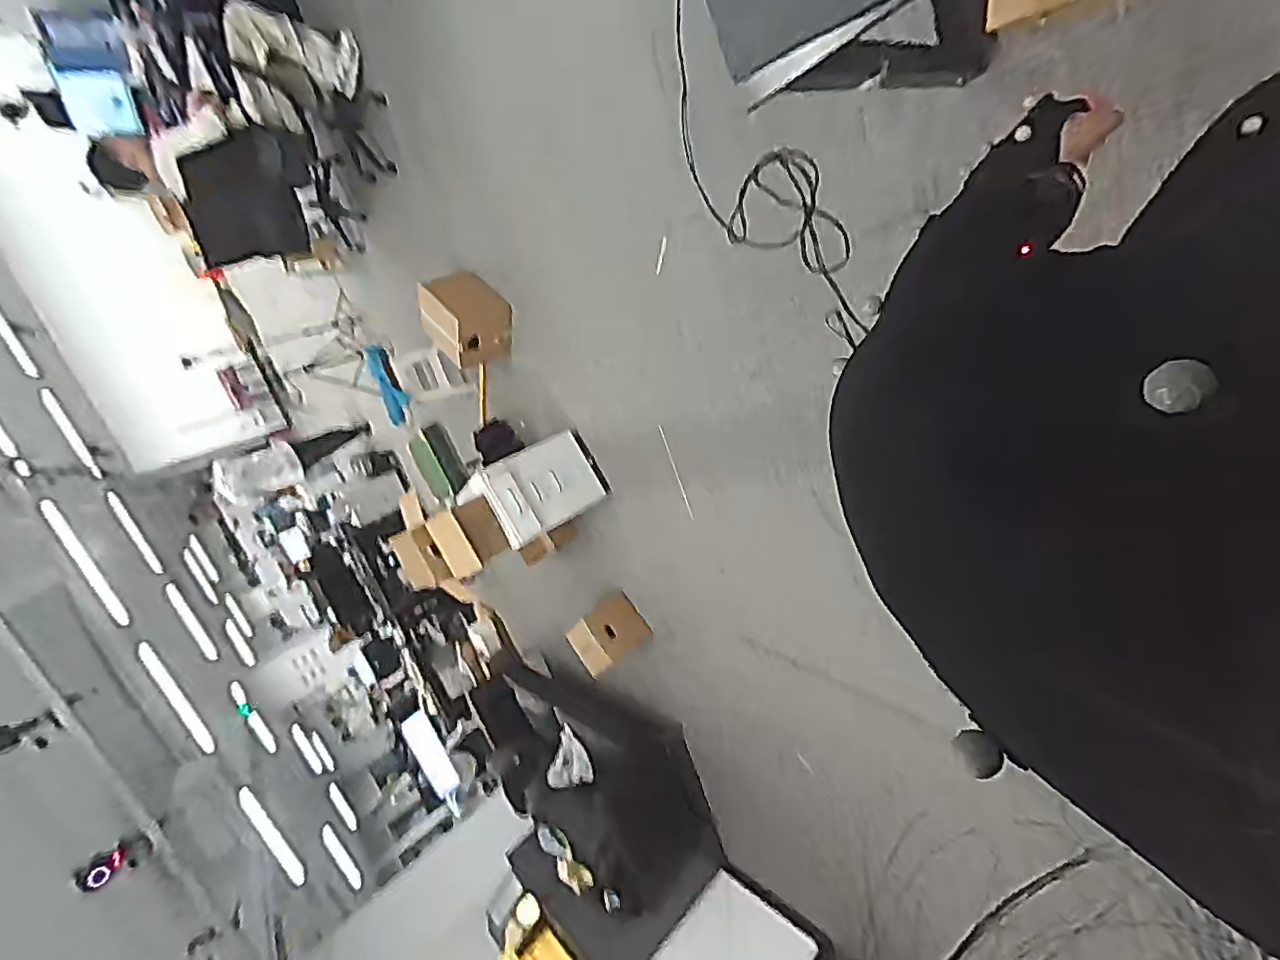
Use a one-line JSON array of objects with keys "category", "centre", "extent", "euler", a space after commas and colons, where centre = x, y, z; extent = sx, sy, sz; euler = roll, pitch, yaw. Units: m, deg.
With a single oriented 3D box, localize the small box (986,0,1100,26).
[{"category": "small box", "centre": [0.720, -0.901, 0.915], "extent": [0.179, 0.176, 0.168], "euler": [17, 128, 46]}]
